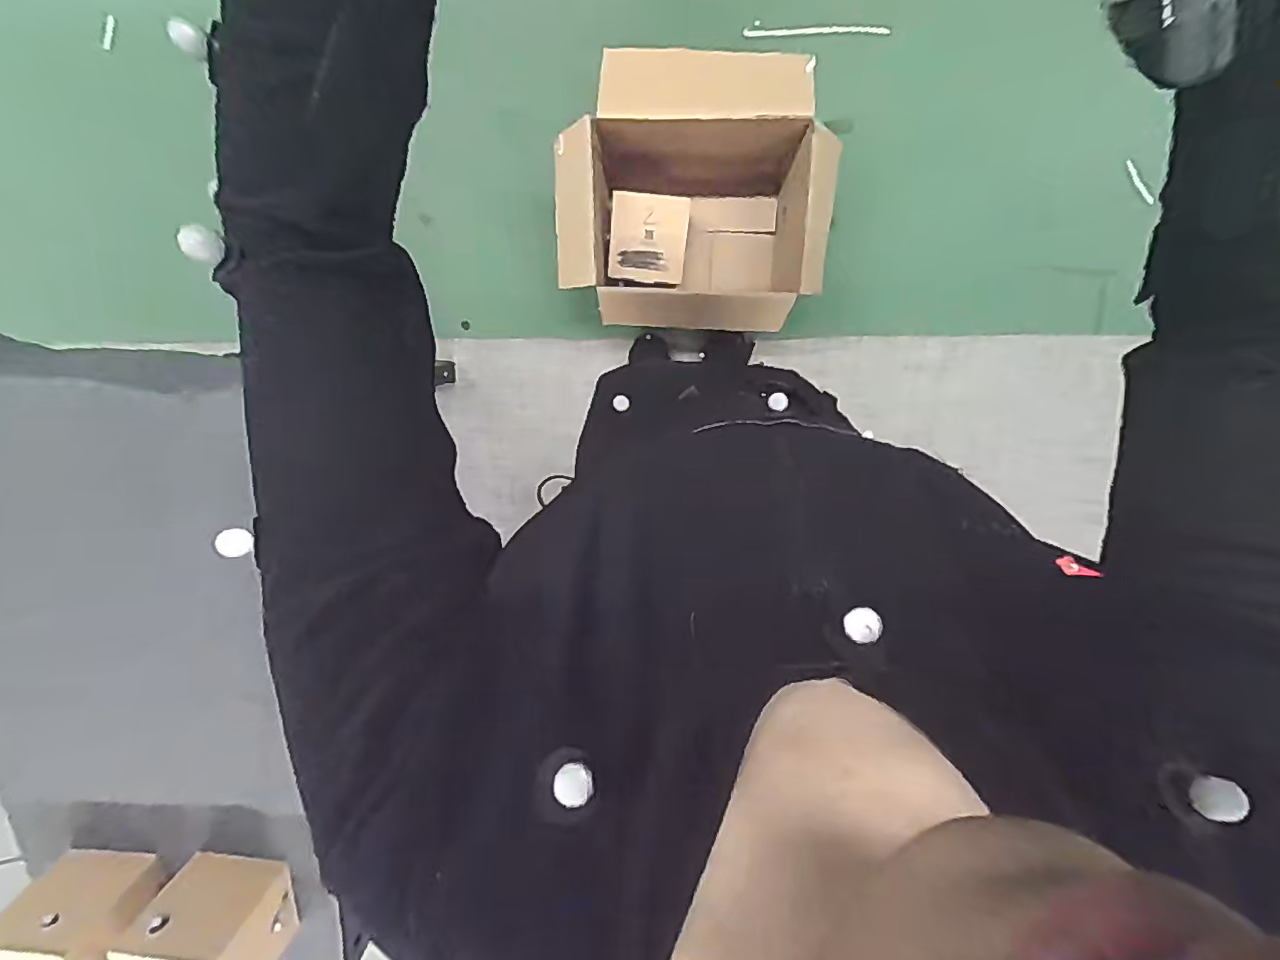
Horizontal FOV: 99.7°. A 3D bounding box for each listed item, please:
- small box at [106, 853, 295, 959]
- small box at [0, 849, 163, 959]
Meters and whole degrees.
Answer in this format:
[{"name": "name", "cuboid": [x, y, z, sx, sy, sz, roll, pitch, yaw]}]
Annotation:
[{"name": "small box", "cuboid": [-0.734, 0.778, 0.924, 0.179, 0.176, 0.168, 4, 107, 2]}, {"name": "small box", "cuboid": [-0.971, 0.777, 0.935, 0.179, 0.176, 0.168, 2, 107, 2]}]
